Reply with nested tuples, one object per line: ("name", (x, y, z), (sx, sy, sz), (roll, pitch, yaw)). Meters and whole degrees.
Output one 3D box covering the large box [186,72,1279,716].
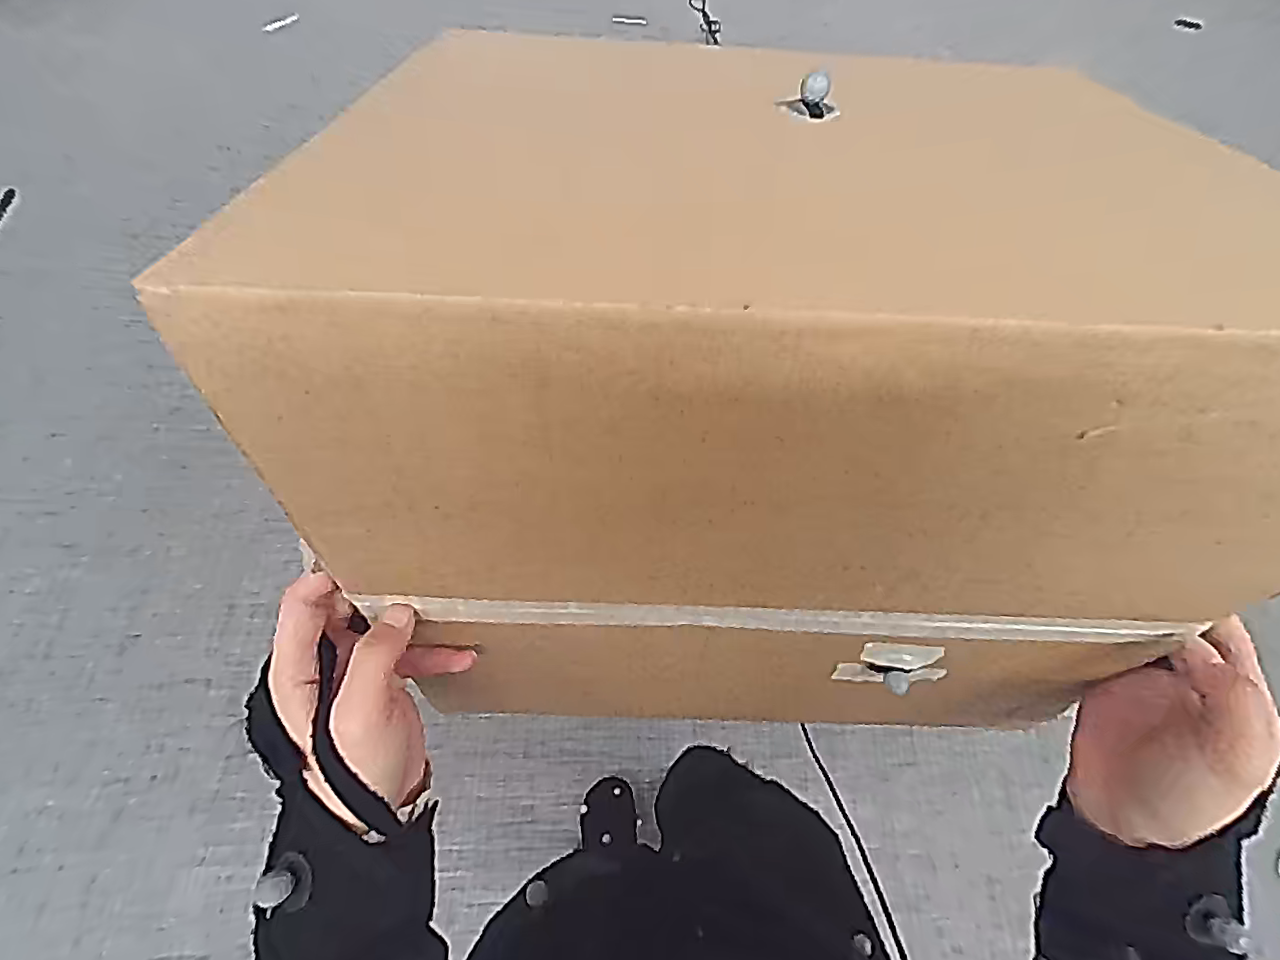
("large box", (0.063, -0.050, 0.362), (0.408, 0.320, 0.320), (1, 50, -1))
